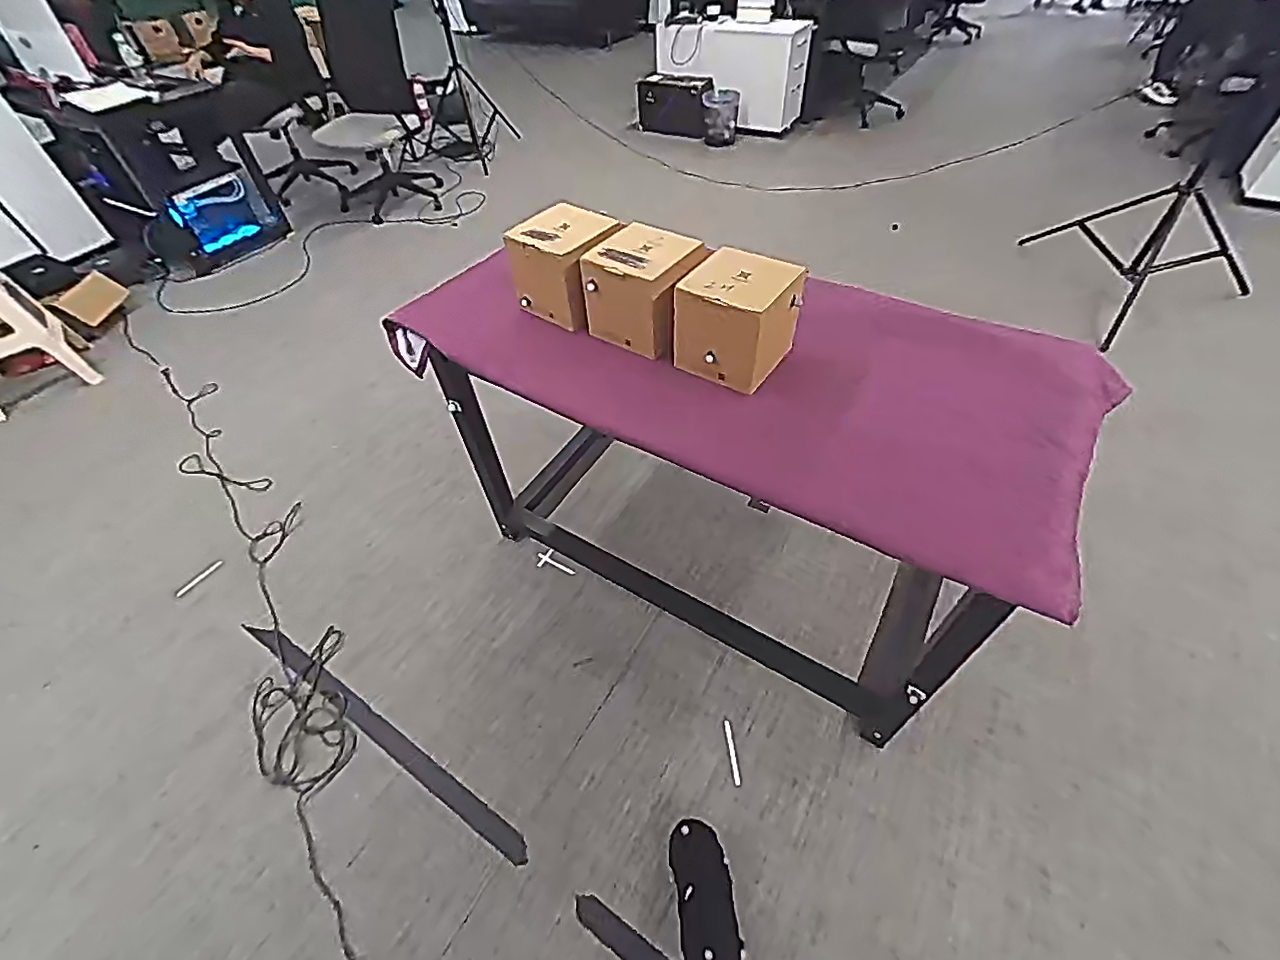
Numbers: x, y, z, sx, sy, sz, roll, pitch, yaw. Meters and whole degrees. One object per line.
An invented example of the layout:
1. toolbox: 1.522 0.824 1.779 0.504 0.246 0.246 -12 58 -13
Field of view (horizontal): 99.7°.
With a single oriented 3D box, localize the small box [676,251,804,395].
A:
1. small box: 0.175 -0.286 0.988 0.168 0.176 0.179 26 55 25
